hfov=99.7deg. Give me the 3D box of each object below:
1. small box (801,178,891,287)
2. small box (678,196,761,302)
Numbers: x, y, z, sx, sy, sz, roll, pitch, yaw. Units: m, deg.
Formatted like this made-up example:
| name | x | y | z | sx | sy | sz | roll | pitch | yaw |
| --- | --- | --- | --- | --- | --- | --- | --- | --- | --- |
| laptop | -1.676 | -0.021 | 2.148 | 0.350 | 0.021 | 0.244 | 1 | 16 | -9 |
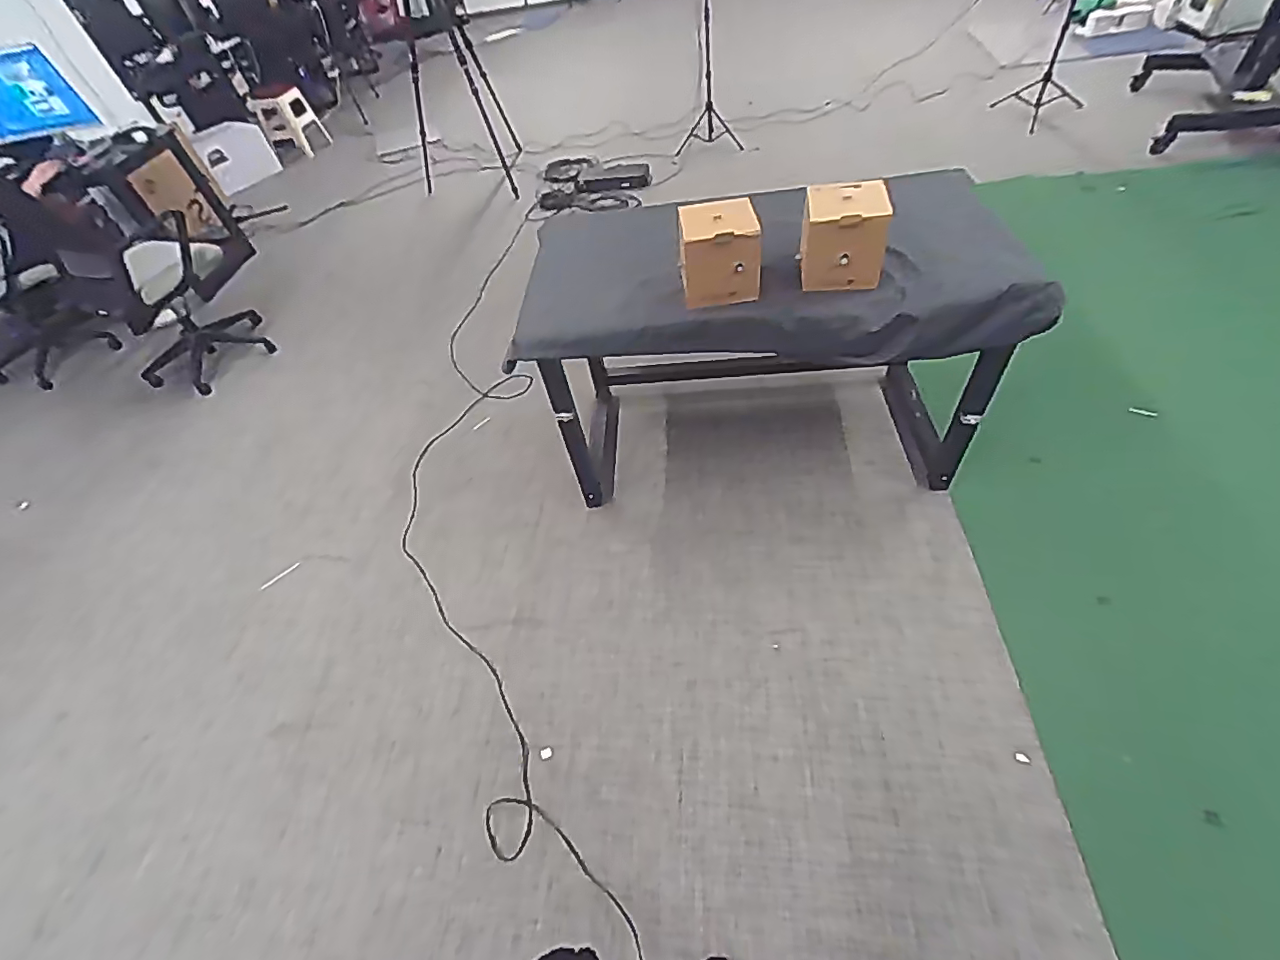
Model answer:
| name | x | y | z | sx | sy | sz | roll | pitch | yaw |
| --- | --- | --- | --- | --- | --- | --- | --- | --- | --- |
| small box | 0.459 | -0.555 | 1.228 | 0.168 | 0.176 | 0.179 | 2 | 52 | 11 |
| small box | 0.181 | -0.527 | 1.252 | 0.168 | 0.176 | 0.179 | -6 | 48 | 2 |
